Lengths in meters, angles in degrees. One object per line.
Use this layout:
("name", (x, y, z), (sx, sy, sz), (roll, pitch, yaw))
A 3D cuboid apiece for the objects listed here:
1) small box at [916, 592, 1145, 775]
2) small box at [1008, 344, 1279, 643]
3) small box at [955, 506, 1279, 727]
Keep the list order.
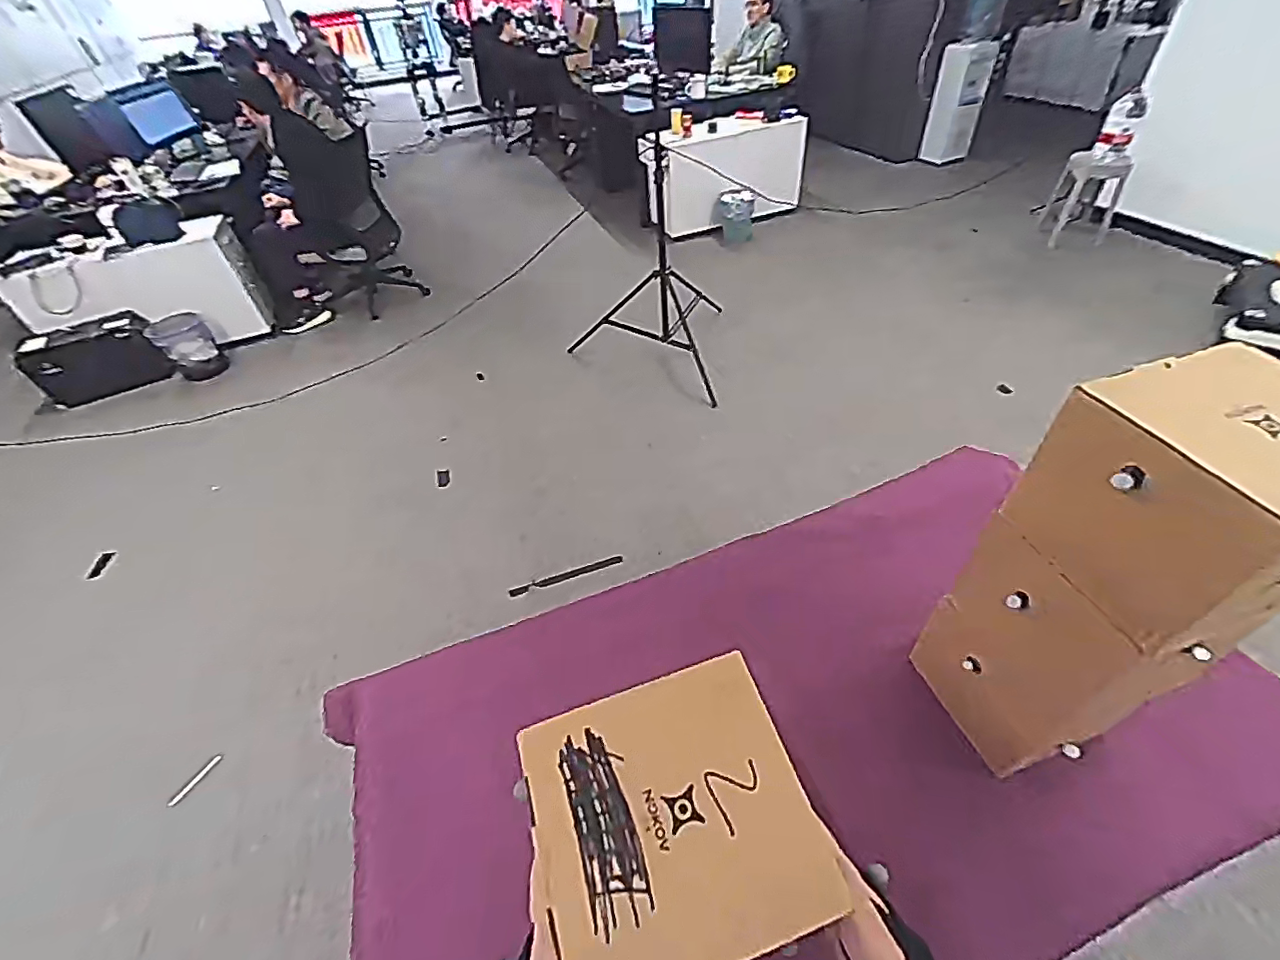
("small box", (0.493, 0.241, 0.696), (0.168, 0.176, 0.179), (-17, 45, -9))
("small box", (0.470, 0.016, 0.459), (0.168, 0.176, 0.179), (-15, 45, -8))
("small box", (0.481, 0.128, 0.578), (0.168, 0.176, 0.179), (-15, 44, -8))
